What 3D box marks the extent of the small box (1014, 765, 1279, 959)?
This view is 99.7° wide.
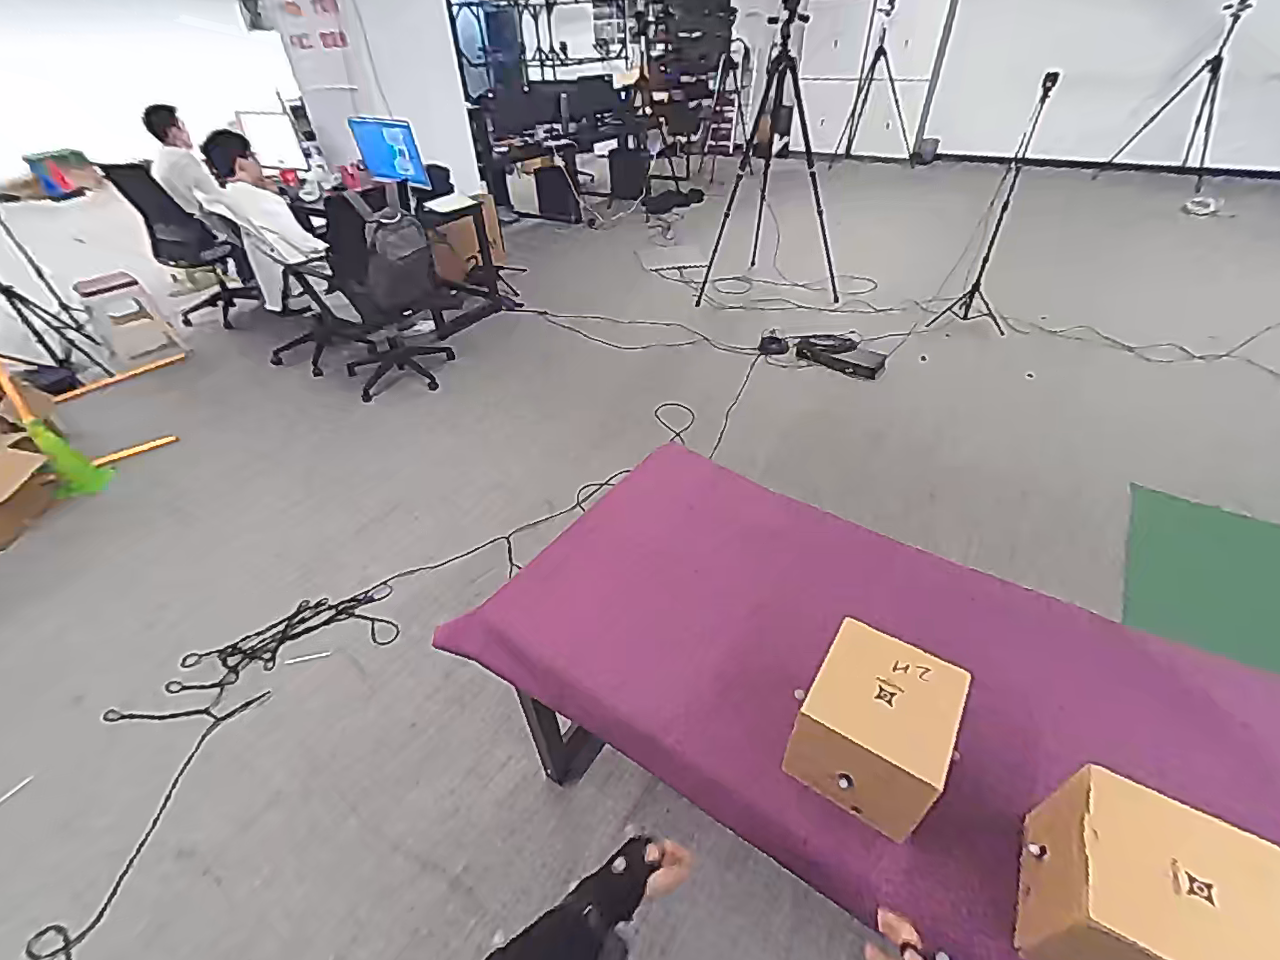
[{"bbox_3d":[0.536,0.453,0.575,0.179,0.176,0.168,19,45,27],"label":"small box"}]

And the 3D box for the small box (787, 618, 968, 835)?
[{"bbox_3d":[0.313,0.332,0.734,0.168,0.176,0.179,23,44,28],"label":"small box"}]
